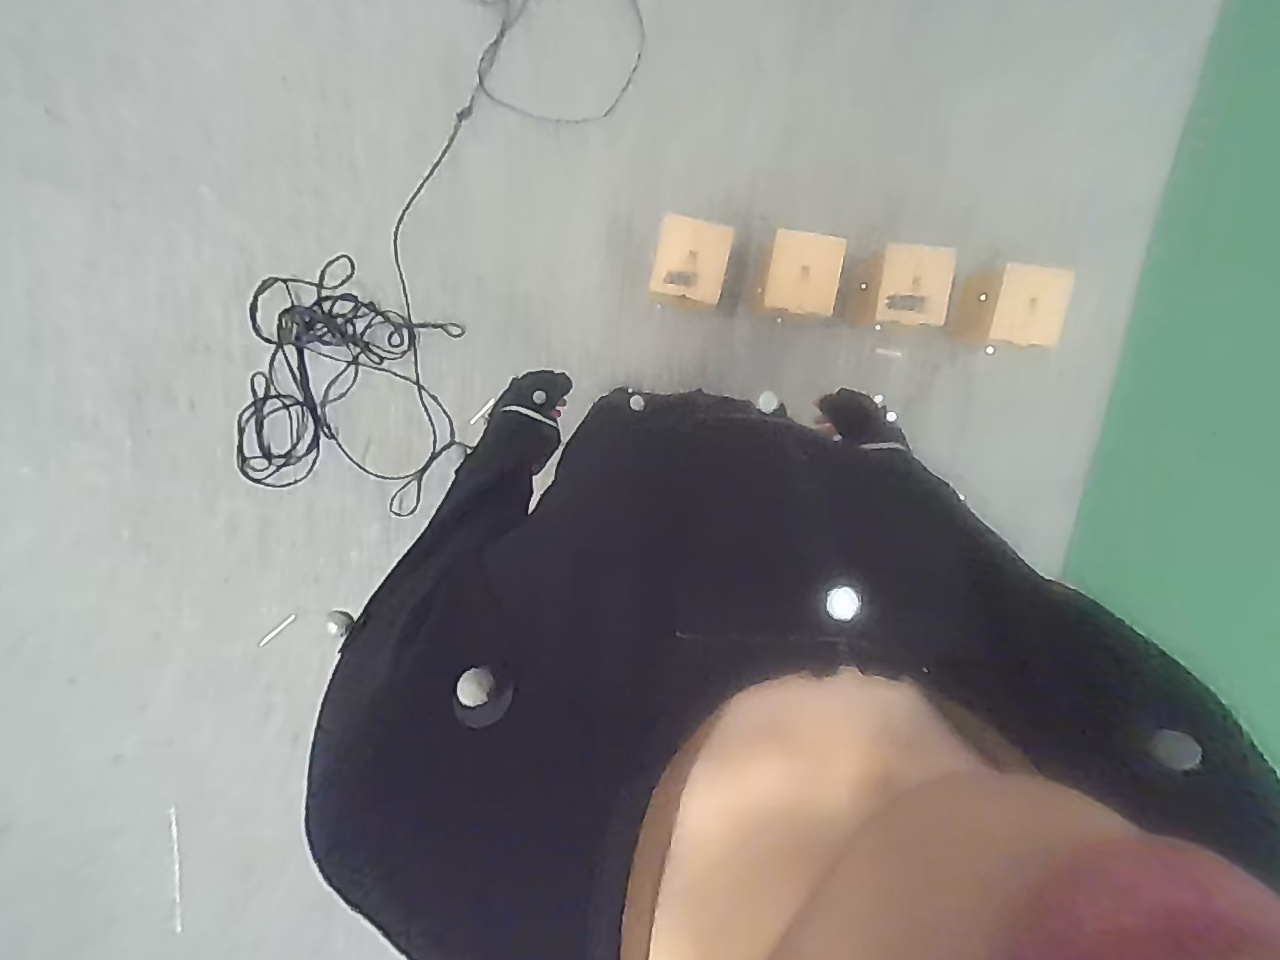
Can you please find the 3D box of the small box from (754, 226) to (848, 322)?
[{"bbox_3d":[0.385,-0.496,1.323,0.168,0.176,0.179,8,100,-1],"label":"small box"}]

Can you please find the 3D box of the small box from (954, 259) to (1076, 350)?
[{"bbox_3d":[0.910,-0.426,1.332,0.168,0.176,0.179,8,100,-1],"label":"small box"}]

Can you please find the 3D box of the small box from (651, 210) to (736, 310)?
[{"bbox_3d":[0.125,-0.525,1.319,0.168,0.176,0.179,12,99,-1],"label":"small box"}]
